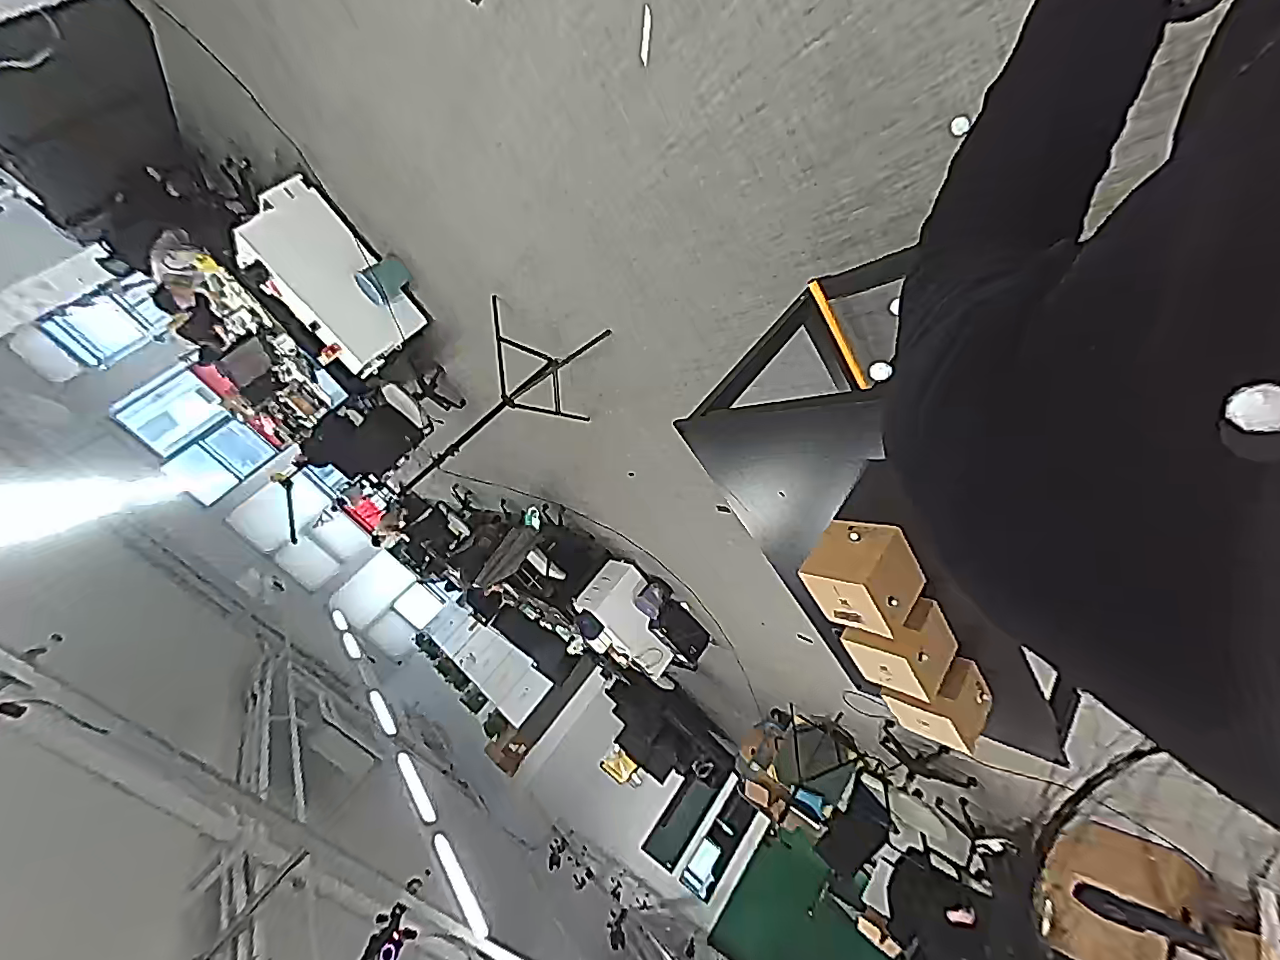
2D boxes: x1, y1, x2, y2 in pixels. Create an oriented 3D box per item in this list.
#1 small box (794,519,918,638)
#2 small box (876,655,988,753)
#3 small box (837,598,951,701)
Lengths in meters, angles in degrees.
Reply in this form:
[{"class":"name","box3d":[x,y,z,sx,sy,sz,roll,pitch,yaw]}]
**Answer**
[{"class":"small box","box3d":[0.483,0.211,1.196,0.168,0.176,0.179,3,135,55]},{"class":"small box","box3d":[0.744,0.546,1.376,0.168,0.176,0.179,51,154,-24]},{"class":"small box","box3d":[0.613,0.387,1.298,0.168,0.176,0.179,4,137,55]}]
